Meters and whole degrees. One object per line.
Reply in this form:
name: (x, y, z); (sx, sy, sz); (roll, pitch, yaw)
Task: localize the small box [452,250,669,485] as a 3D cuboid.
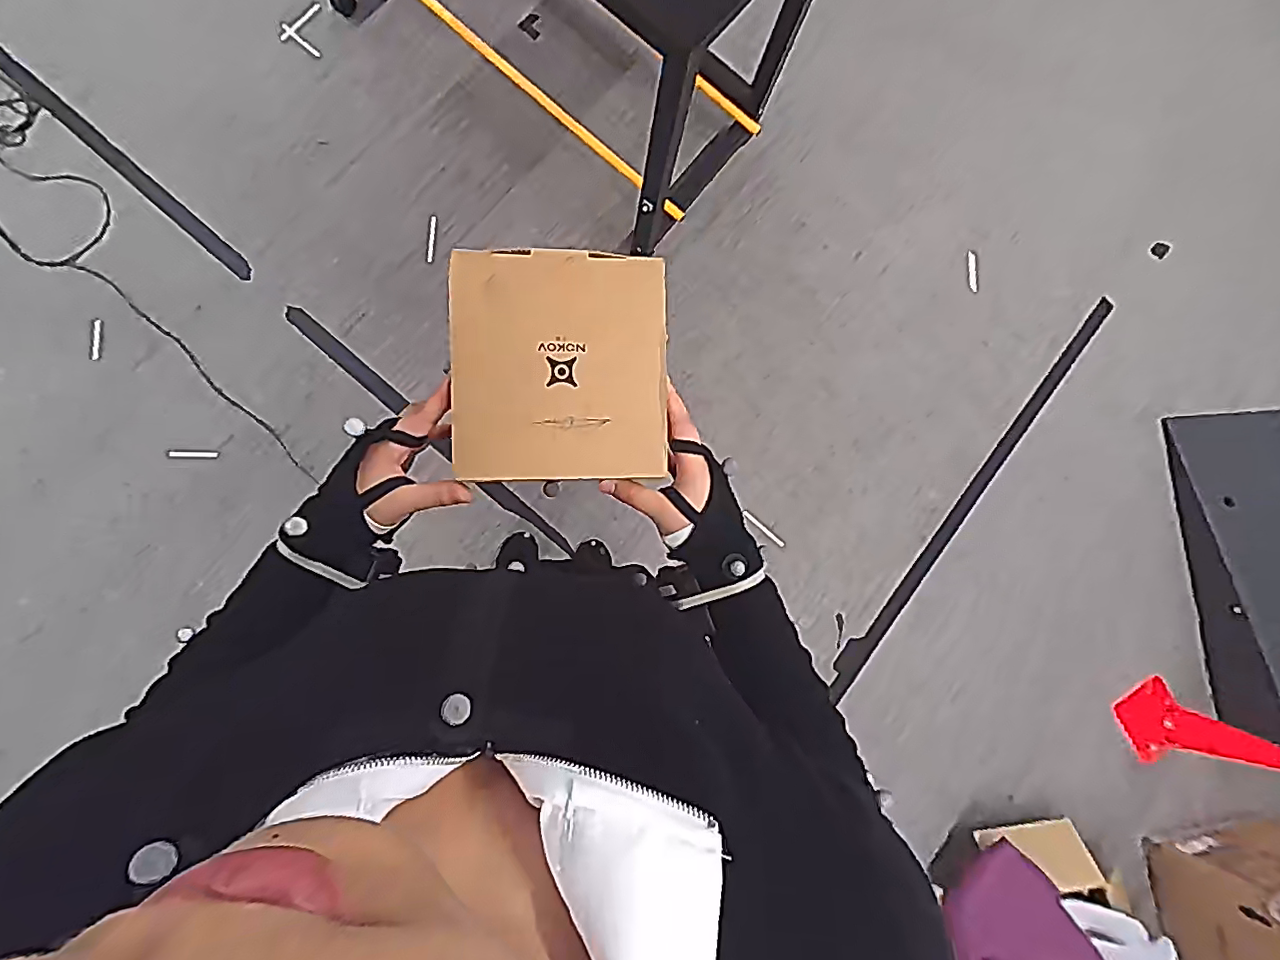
small box: (-0.070, -0.084, 0.489); (0.168, 0.176, 0.179); (-1, 91, -8)
